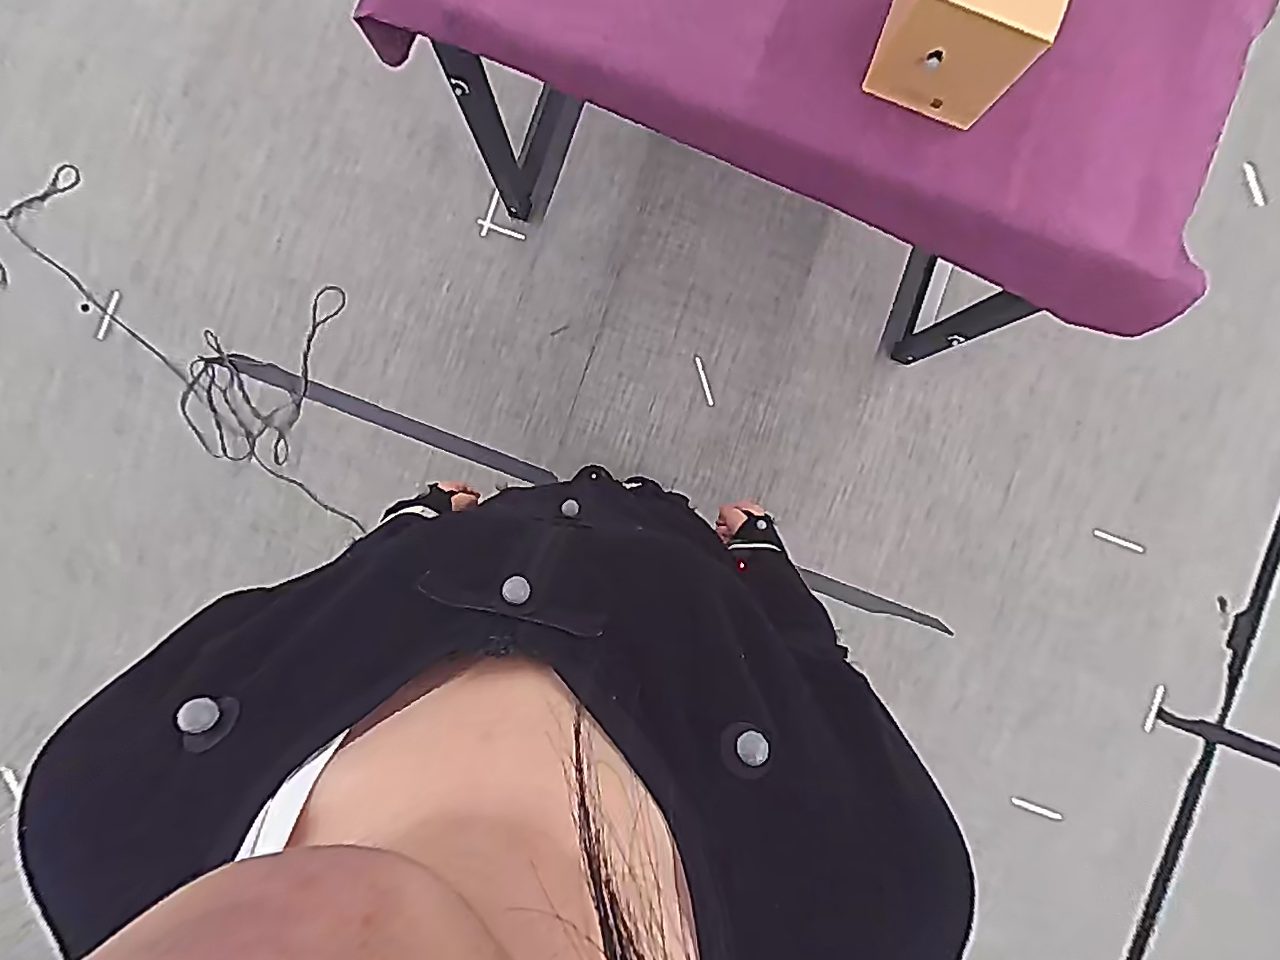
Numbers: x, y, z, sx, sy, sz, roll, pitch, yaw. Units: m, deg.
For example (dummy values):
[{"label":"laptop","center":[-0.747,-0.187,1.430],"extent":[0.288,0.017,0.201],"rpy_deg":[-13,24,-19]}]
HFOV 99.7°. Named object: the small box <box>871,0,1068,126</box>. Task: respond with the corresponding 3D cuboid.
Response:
[{"label":"small box","center":[0.429,-0.613,0.705],"extent":[0.168,0.176,0.179],"rpy_deg":[20,89,-1]}]
